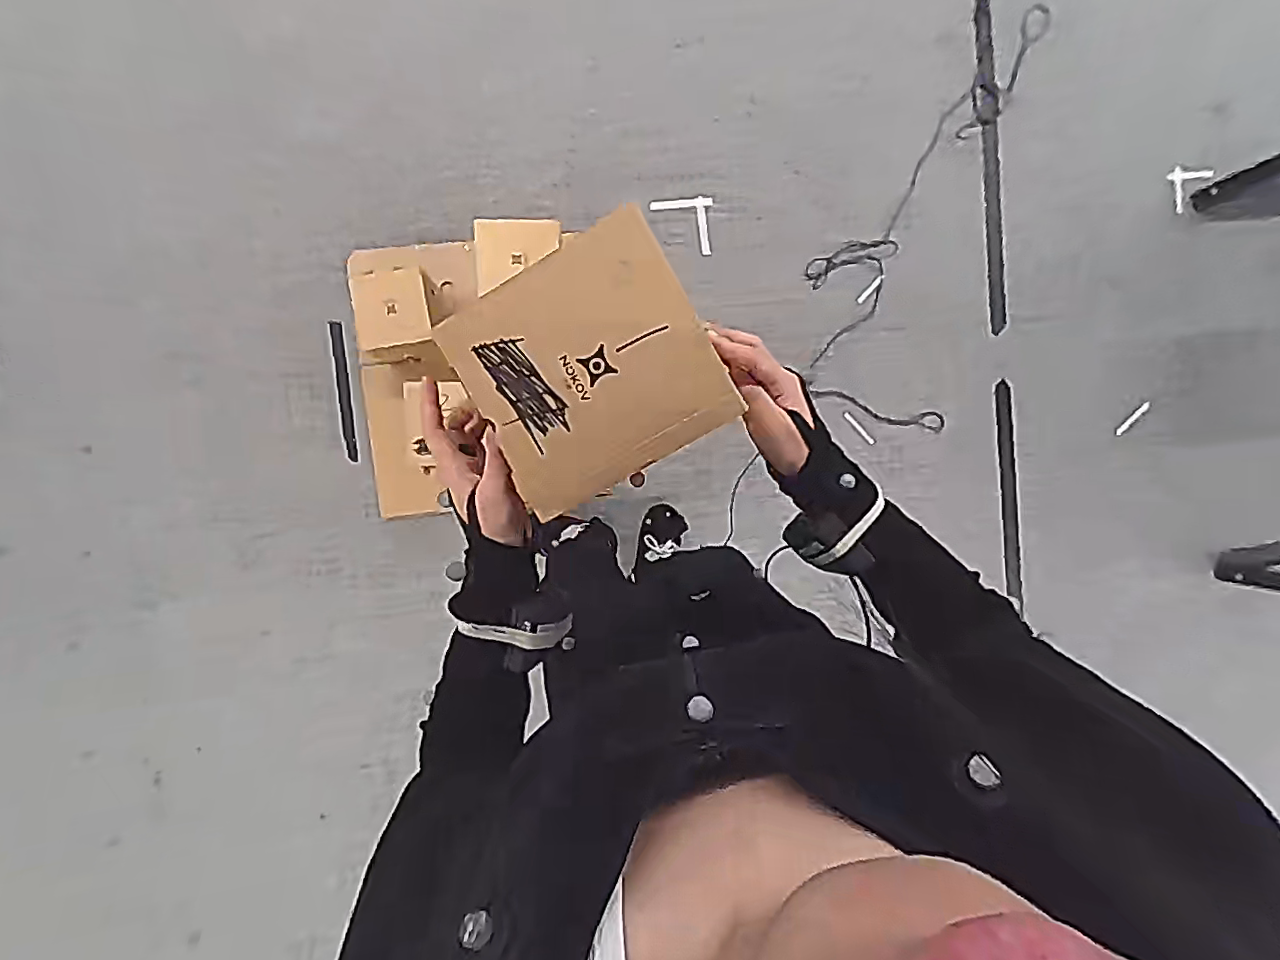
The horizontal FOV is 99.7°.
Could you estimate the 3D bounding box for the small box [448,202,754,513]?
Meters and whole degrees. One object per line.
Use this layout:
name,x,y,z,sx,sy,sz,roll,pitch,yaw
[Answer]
small box,-0.022,-0.091,0.466,0.179,0.176,0.168,-28,94,7

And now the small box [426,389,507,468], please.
small box,-0.422,-0.125,1.343,0.168,0.176,0.179,2,93,-6

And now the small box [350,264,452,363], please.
small box,-0.577,-0.400,1.322,0.168,0.176,0.179,-11,92,-4

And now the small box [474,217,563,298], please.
small box,-0.257,-0.456,1.188,0.179,0.176,0.168,-3,91,-7
